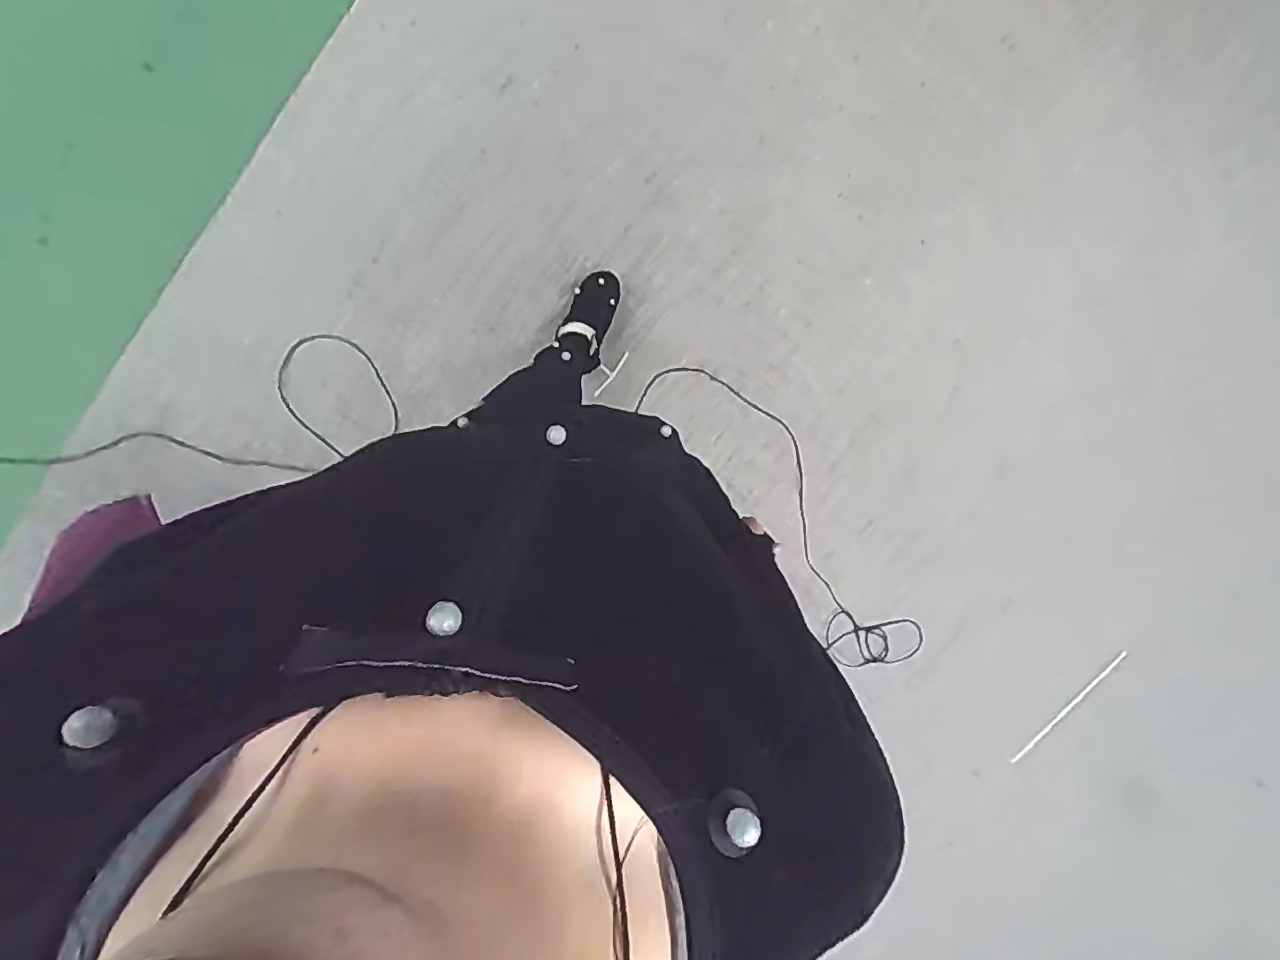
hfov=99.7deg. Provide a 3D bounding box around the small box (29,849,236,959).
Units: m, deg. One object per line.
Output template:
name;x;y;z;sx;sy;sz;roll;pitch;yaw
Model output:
small box;-0.747;0.689;0.781;0.179;0.176;0.168;39;97;-8
